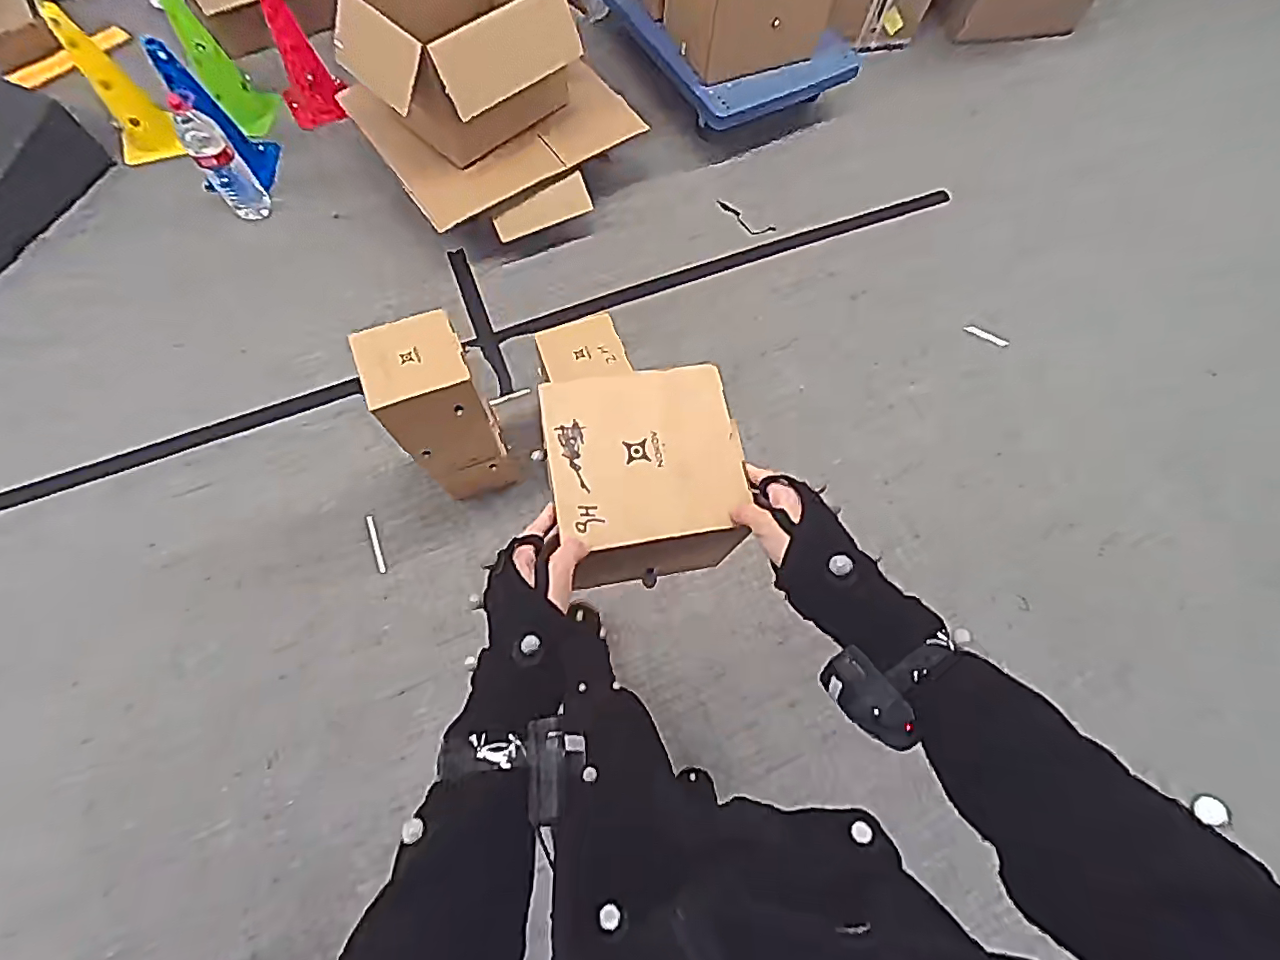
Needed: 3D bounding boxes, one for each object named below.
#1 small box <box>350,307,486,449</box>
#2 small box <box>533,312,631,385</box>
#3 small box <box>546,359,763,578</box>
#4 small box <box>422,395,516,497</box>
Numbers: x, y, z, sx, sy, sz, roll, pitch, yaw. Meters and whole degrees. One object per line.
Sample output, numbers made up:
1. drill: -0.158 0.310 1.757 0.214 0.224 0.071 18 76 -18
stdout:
1. small box: -0.400 -0.184 1.005 0.179 0.176 0.168 -22 71 -11
2. small box: -0.125 -0.242 1.216 0.179 0.176 0.168 -18 73 -11
3. small box: 0.001 -0.004 0.558 0.179 0.176 0.168 -8 70 -10
4. small box: -0.417 -0.076 1.313 0.179 0.176 0.168 -20 72 -11
